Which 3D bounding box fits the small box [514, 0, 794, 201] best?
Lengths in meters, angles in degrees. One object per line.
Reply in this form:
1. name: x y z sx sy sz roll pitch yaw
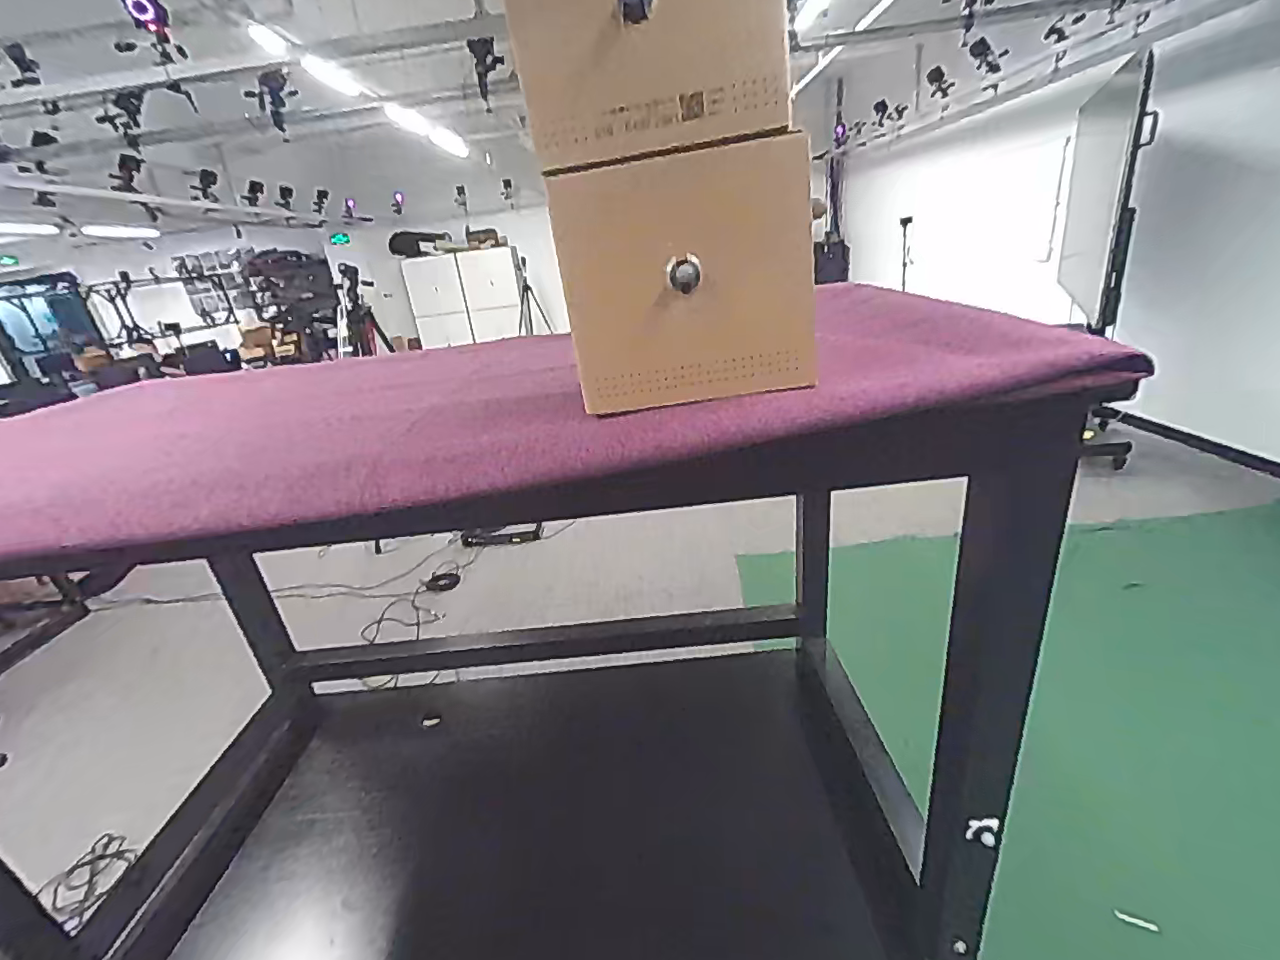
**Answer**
1. small box: 0.010 -0.314 0.390 0.168 0.176 0.179 -7 21 5
